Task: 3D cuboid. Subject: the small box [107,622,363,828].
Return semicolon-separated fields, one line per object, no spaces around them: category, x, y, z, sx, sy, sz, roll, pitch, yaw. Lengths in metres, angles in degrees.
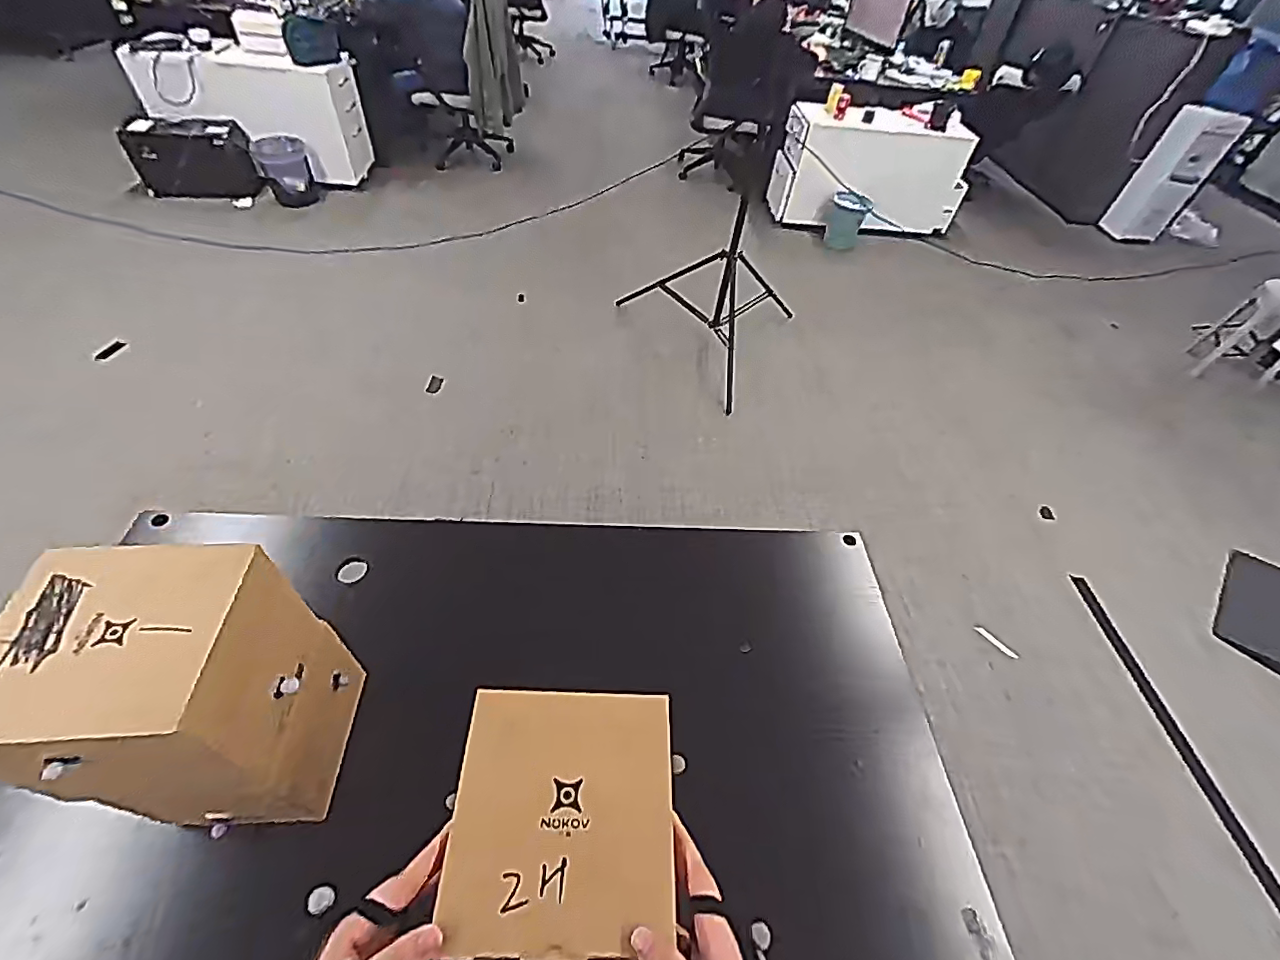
small box;-0.442;0.281;0.621;0.168;0.176;0.179;0;50;-5

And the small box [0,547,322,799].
small box;-0.430;0.177;0.493;0.179;0.176;0.168;-1;49;-7

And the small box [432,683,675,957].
small box;-0.064;0.298;0.473;0.168;0.176;0.179;3;48;-3
